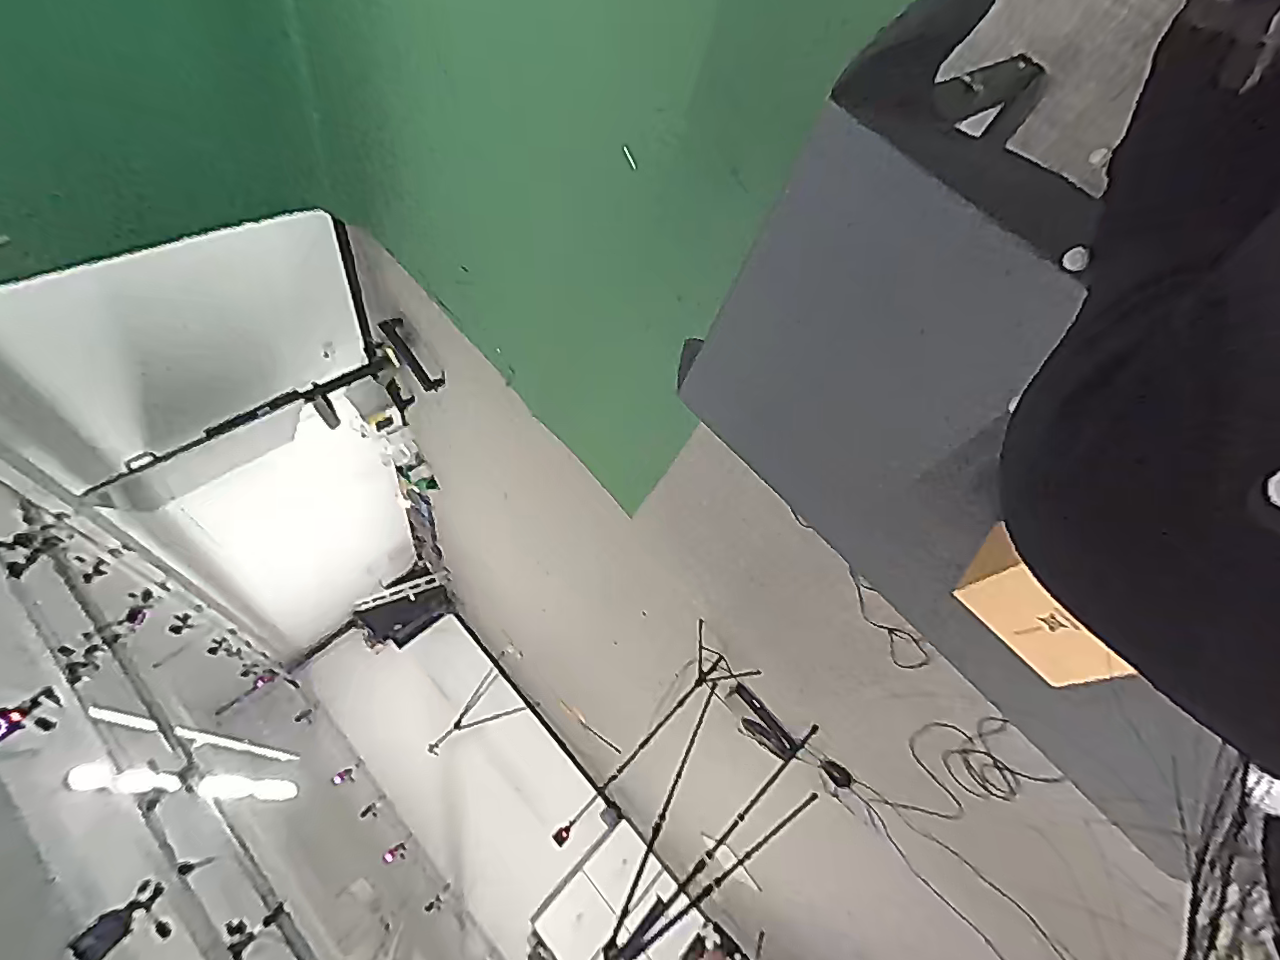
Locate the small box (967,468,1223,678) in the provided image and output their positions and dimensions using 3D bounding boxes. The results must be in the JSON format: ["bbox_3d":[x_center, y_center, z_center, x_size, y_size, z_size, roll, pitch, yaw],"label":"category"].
[{"bbox_3d":[0.570,0.115,0.682,0.168,0.176,0.179,46,150,13],"label":"small box"}]
